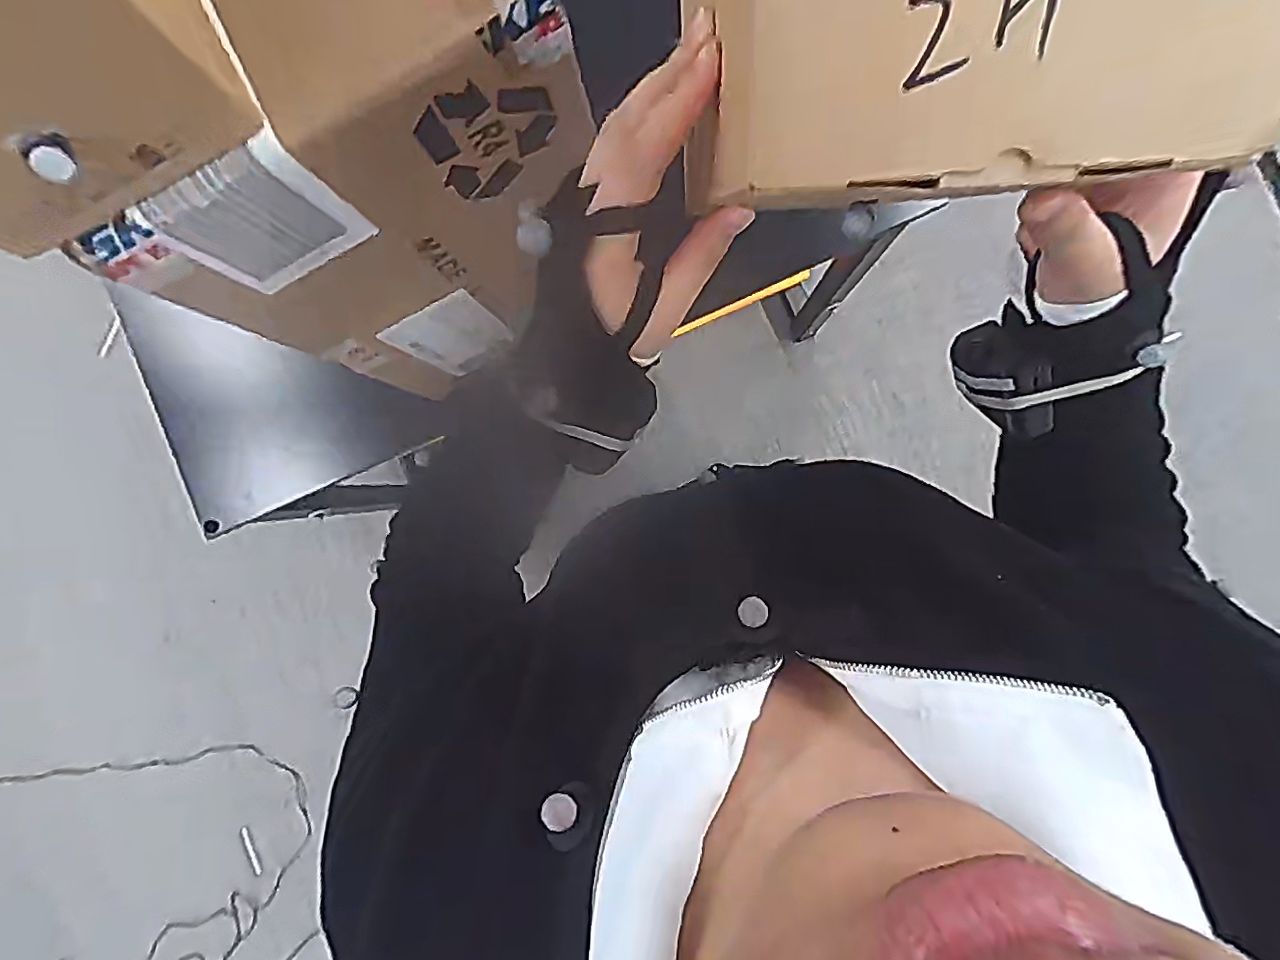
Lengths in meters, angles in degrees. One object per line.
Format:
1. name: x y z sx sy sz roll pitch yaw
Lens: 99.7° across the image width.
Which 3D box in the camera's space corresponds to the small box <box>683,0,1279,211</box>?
1. small box: 0.106 -0.210 0.210 0.168 0.176 0.179 -3 114 -1
